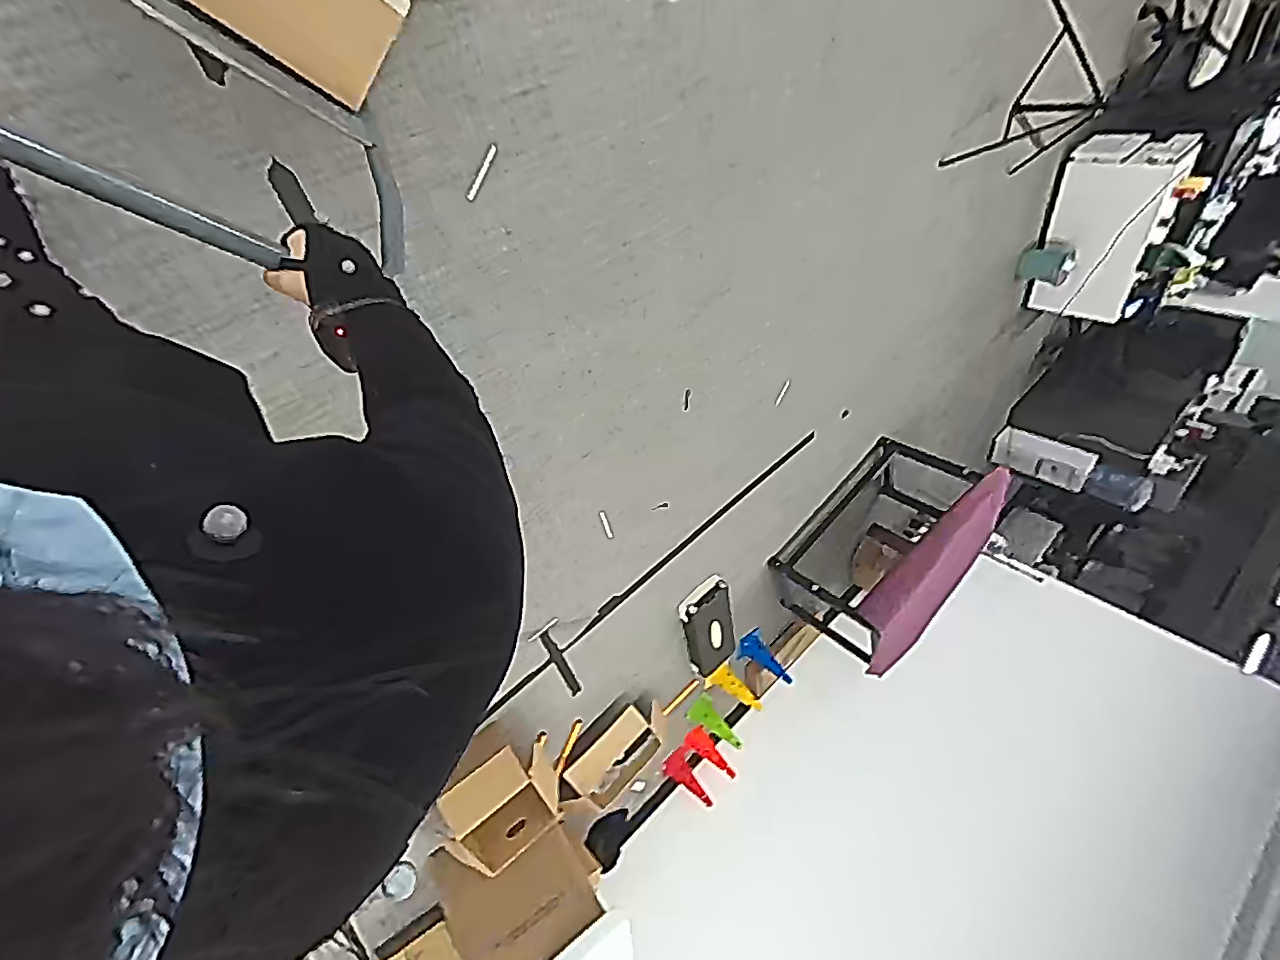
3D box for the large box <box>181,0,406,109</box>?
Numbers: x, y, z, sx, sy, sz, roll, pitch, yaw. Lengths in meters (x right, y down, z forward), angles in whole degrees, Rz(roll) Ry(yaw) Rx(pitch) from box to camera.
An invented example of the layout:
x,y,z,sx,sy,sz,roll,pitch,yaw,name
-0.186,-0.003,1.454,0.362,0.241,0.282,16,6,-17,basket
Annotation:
x,y,z,sx,sy,sz,roll,pitch,yaw,name
-0.515,-0.782,0.663,0.320,0.320,0.408,-45,146,24,large box
